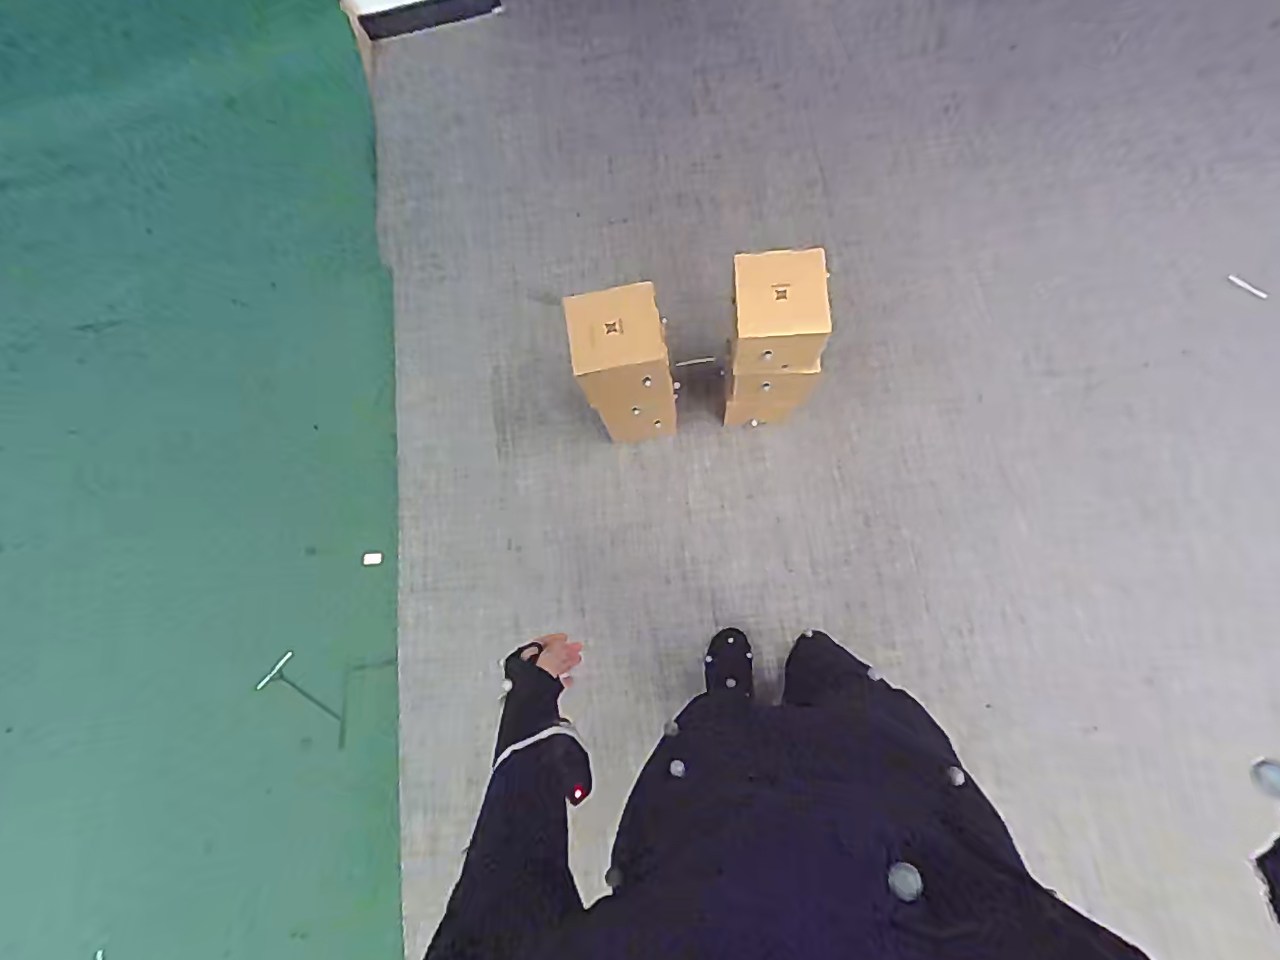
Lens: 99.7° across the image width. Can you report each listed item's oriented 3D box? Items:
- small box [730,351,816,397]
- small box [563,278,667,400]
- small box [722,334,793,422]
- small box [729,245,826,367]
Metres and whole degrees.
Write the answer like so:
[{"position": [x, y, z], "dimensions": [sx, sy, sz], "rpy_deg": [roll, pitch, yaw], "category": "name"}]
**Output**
[{"position": [0.294, -0.292, 1.226], "dimensions": [0.179, 0.176, 0.168], "rpy_deg": [0, 78, 8], "category": "small box"}, {"position": [-0.043, -0.275, 1.089], "dimensions": [0.179, 0.176, 0.168], "rpy_deg": [-10, 76, 5], "category": "small box"}, {"position": [0.296, -0.259, 1.387], "dimensions": [0.168, 0.176, 0.179], "rpy_deg": [0, 78, 7], "category": "small box"}, {"position": [0.263, -0.333, 1.070], "dimensions": [0.168, 0.176, 0.179], "rpy_deg": [-2, 77, 6], "category": "small box"}]
